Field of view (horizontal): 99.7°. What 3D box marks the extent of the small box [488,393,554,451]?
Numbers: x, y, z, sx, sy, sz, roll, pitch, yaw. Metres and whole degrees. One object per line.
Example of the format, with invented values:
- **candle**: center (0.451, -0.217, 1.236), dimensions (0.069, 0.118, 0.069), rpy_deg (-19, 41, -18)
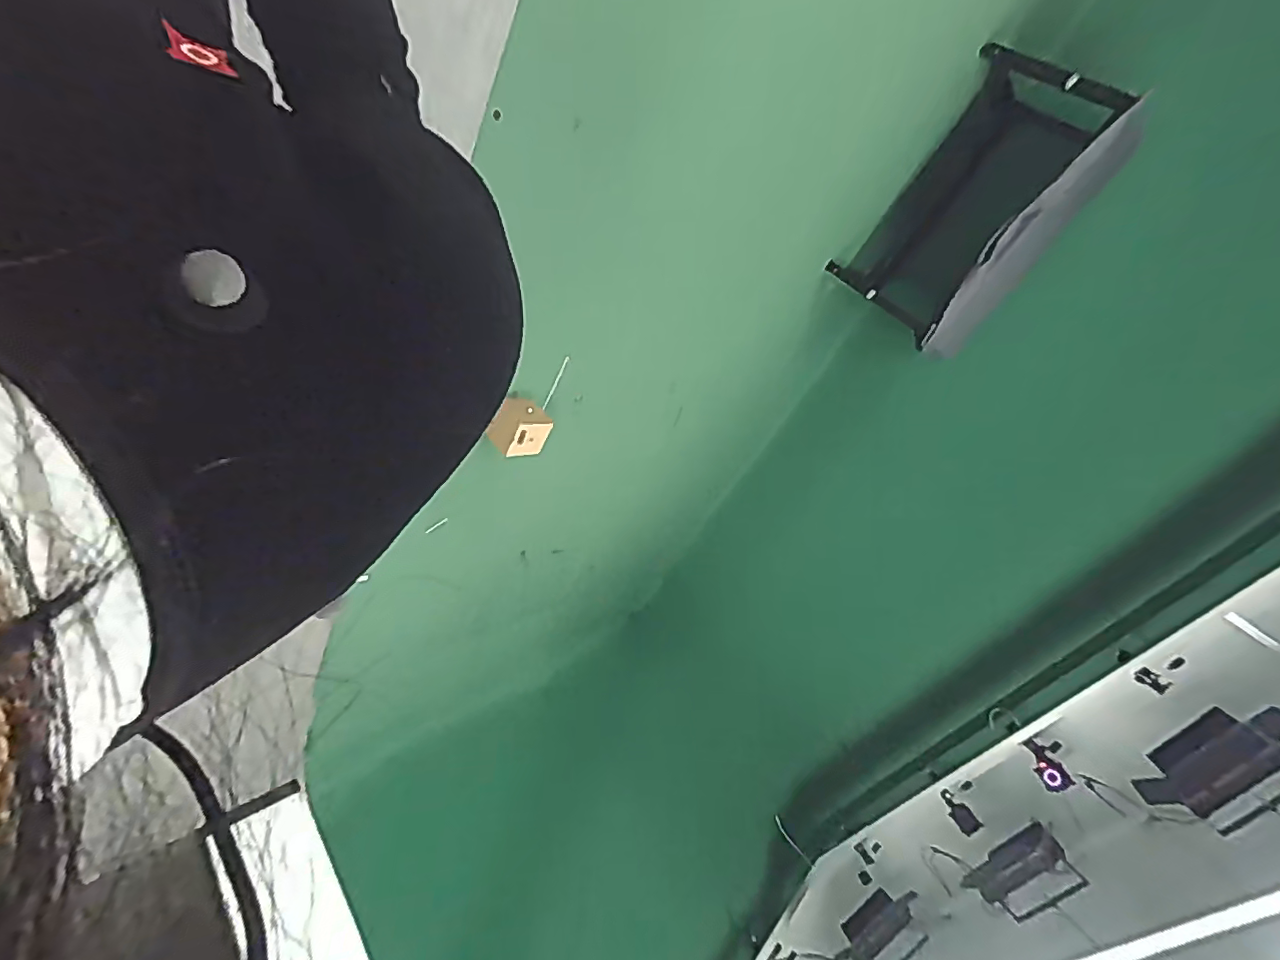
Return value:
- **small box**: center (-0.486, -0.237, 2.188), dimensions (0.179, 0.176, 0.168), rpy_deg (-10, 140, -51)
